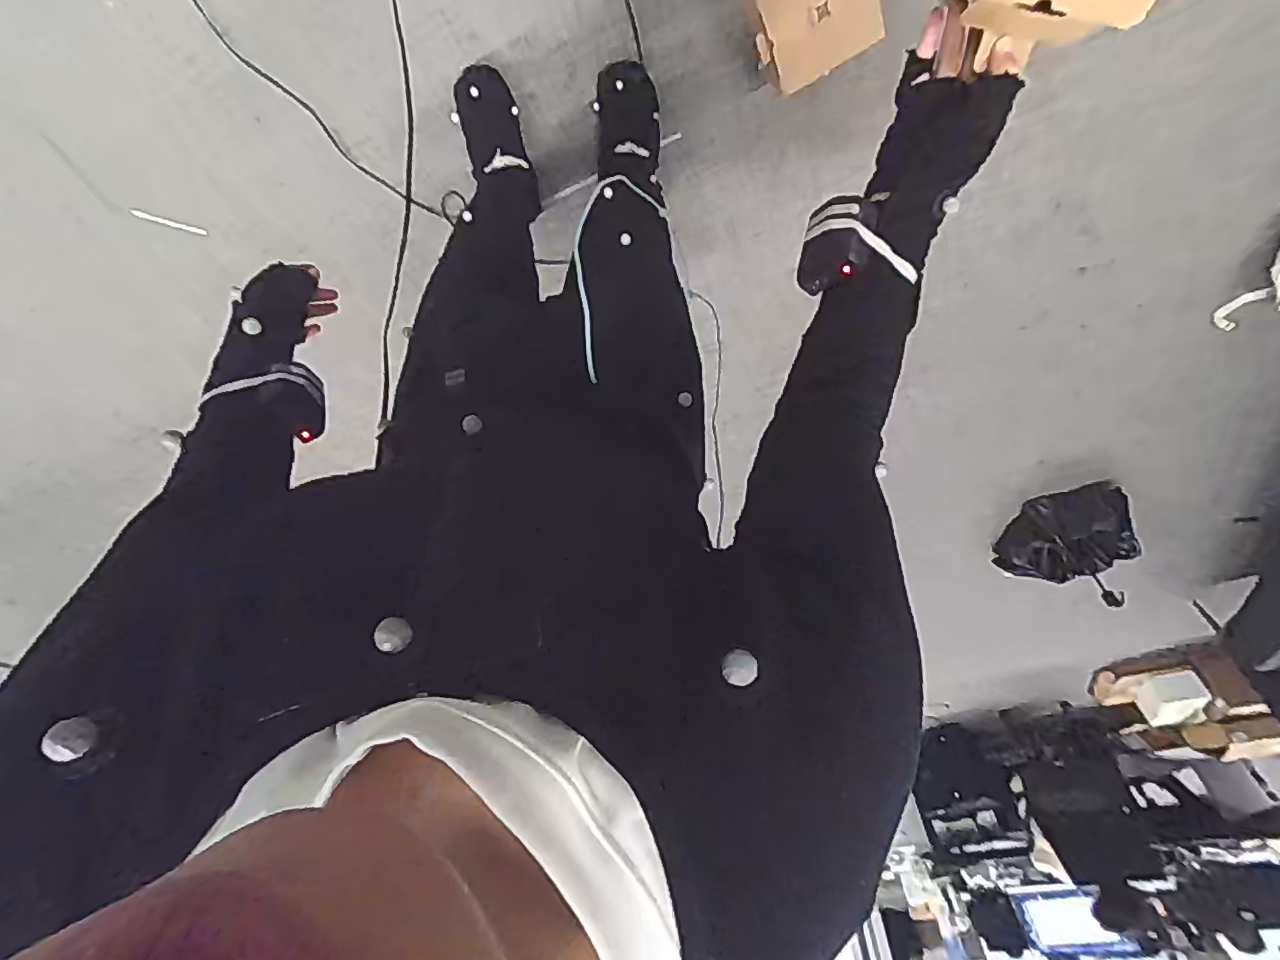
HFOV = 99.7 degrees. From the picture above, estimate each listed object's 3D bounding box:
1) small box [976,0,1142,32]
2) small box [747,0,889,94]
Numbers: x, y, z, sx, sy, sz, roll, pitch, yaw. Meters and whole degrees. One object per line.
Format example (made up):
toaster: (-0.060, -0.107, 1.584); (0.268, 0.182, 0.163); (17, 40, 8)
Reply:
small box: (0.274, -0.443, 0.359); (0.168, 0.176, 0.179); (-1, 143, -13)
small box: (0.285, -0.793, 0.899); (0.179, 0.176, 0.168); (-22, 134, 19)
